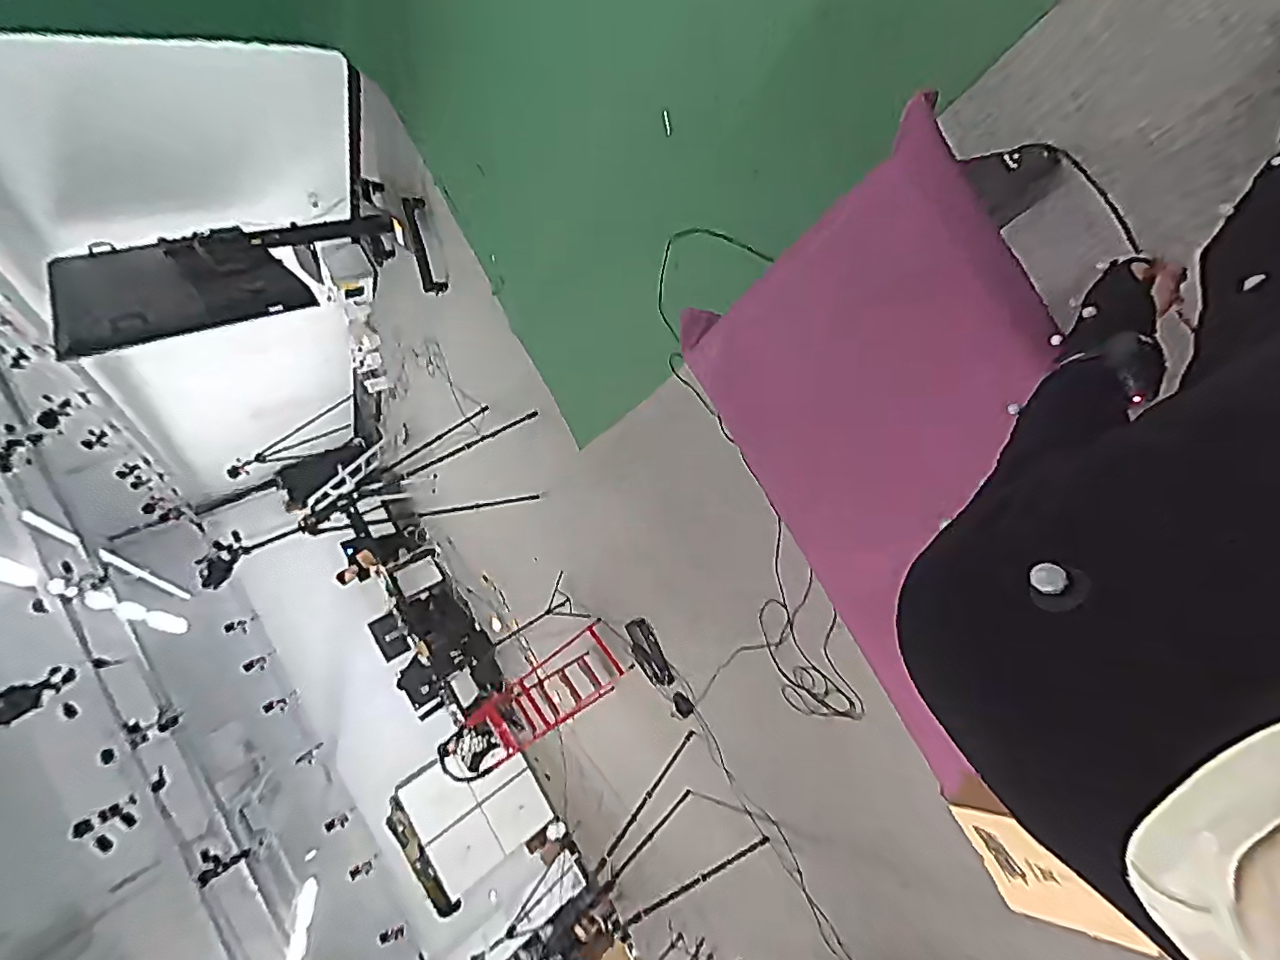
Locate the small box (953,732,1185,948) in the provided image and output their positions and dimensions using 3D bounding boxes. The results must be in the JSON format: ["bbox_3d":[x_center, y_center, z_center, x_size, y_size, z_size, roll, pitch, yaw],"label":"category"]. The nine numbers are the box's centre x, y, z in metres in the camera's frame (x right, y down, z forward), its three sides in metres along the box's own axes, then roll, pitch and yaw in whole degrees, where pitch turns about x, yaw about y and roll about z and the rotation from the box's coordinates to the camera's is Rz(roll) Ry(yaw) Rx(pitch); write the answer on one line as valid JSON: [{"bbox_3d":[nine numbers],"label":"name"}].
[{"bbox_3d":[0.592,0.475,0.751,0.168,0.176,0.179,59,147,5],"label":"small box"}]
